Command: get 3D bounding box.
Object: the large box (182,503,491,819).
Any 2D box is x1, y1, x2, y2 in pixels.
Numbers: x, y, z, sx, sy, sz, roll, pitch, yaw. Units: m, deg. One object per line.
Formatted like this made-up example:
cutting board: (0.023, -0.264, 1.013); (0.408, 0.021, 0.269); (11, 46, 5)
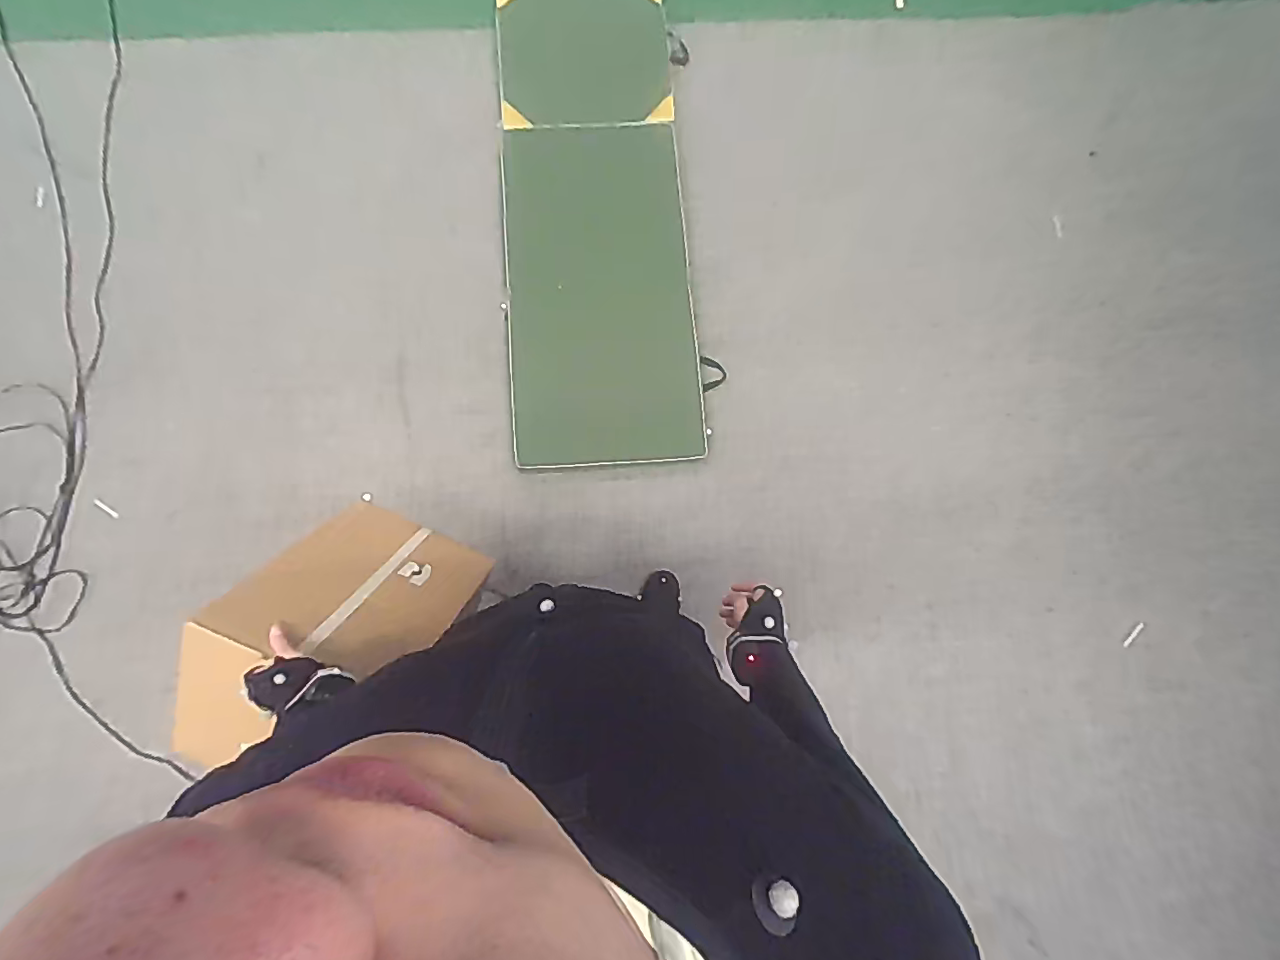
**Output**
large box: (-0.532, 0.310, 1.007); (0.320, 0.408, 0.320); (26, 114, -3)
